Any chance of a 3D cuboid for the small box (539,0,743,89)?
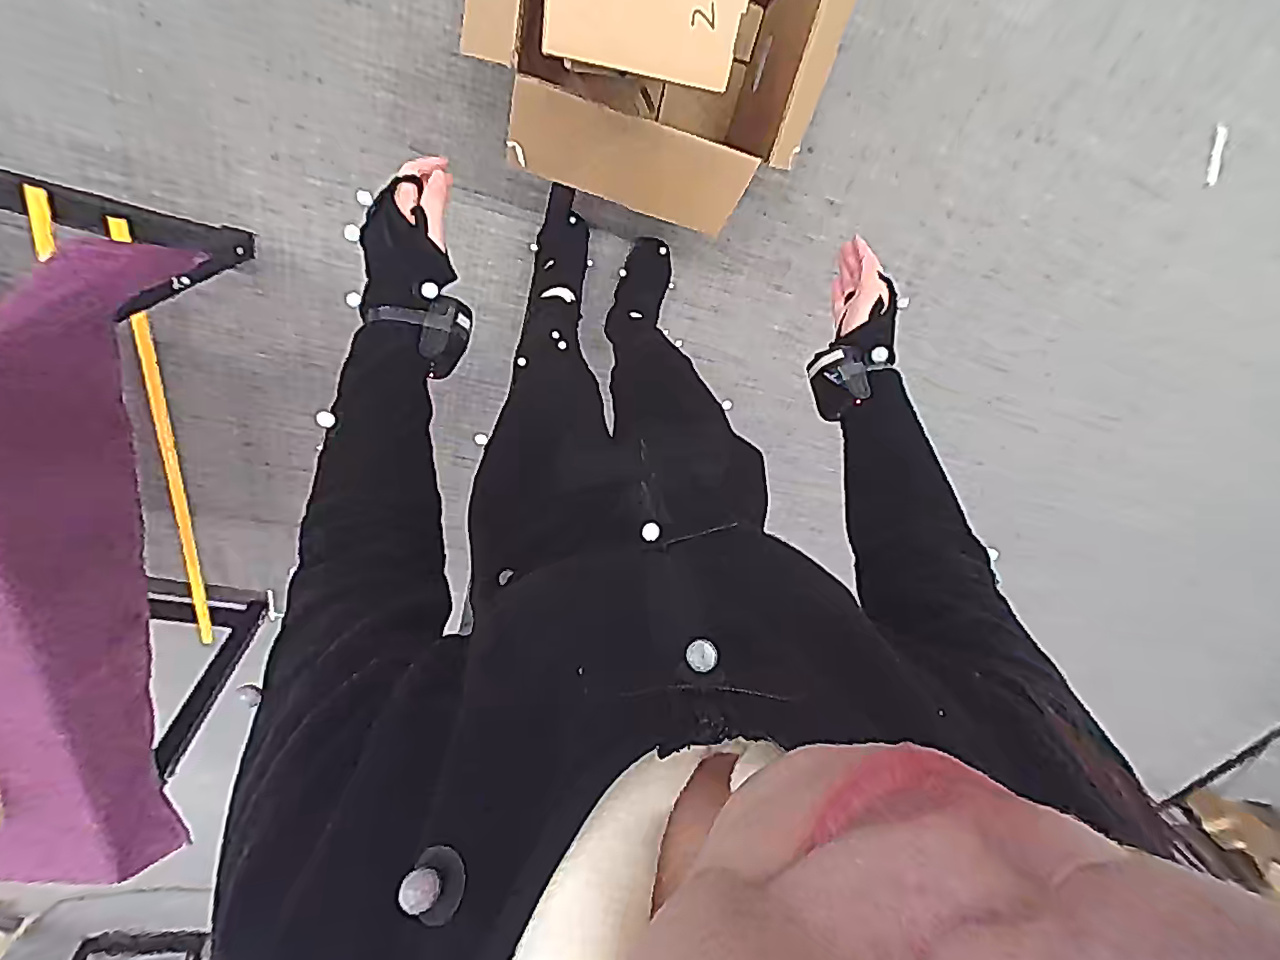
[{"bbox_3d":[-0.001,-0.493,0.513,0.179,0.176,0.168,3,129,-13],"label":"small box"}]
